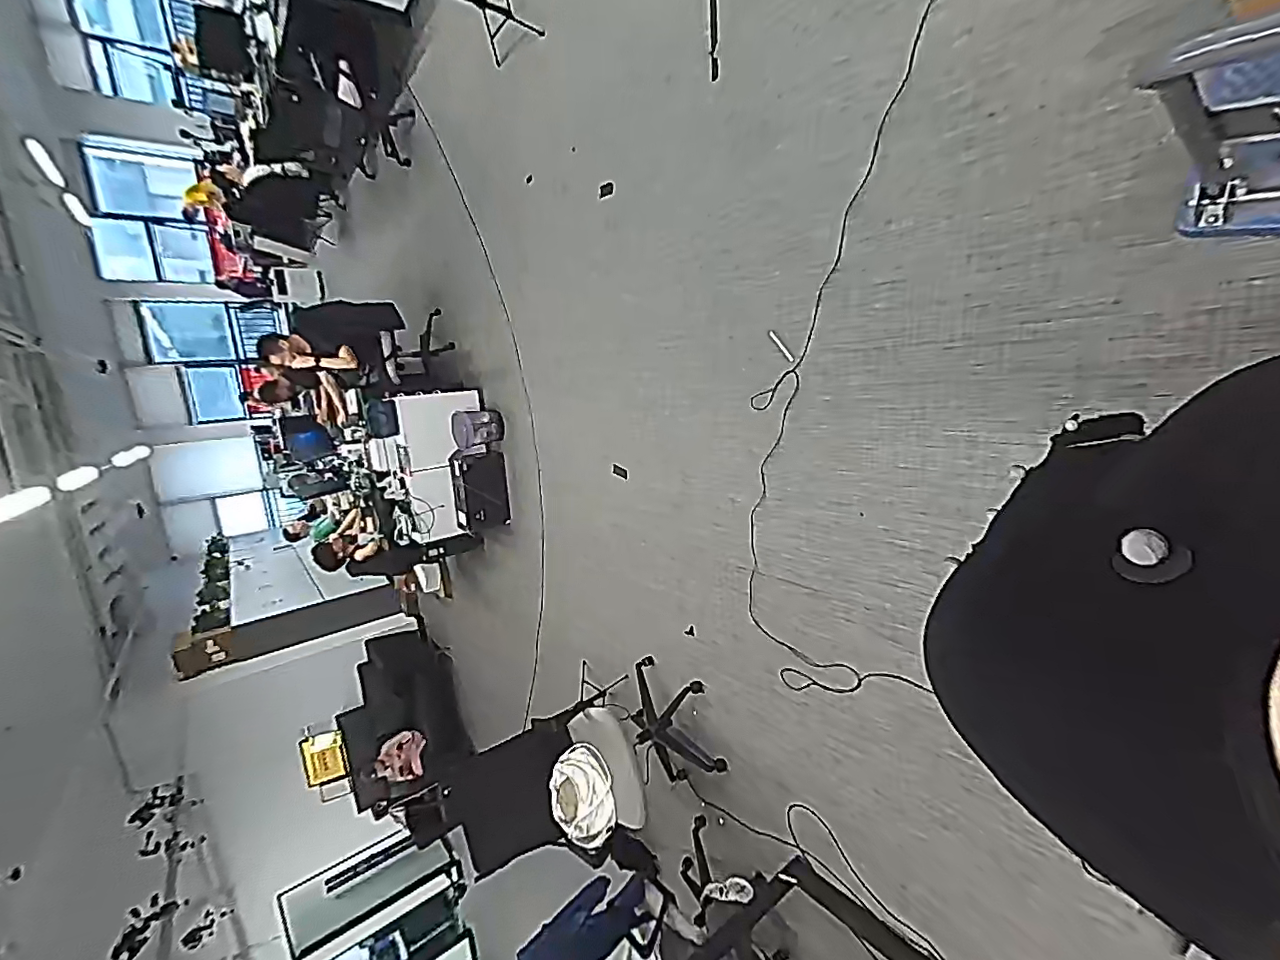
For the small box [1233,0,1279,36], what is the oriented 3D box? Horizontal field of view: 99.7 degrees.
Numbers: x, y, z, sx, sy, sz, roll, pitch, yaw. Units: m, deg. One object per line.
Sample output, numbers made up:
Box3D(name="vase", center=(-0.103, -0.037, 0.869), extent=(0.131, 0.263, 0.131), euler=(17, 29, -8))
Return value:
Box3D(name="small box", center=(0.925, -0.721, 0.704), extent=(0.179, 0.176, 0.168), euler=(24, 118, 45))
